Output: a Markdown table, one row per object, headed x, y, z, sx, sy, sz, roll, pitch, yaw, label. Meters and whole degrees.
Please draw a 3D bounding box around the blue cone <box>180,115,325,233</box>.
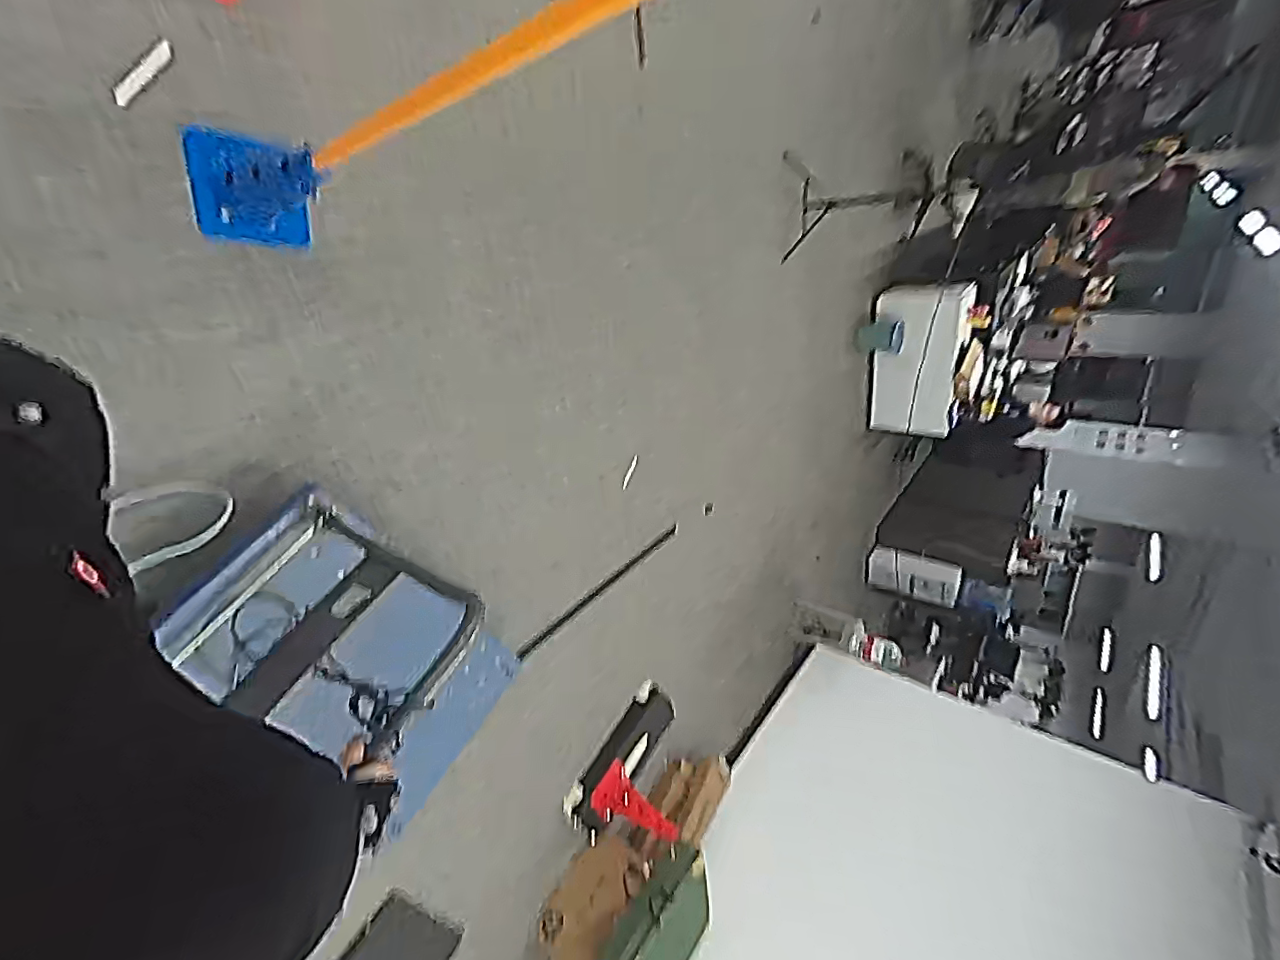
| x | y | z | sx | sy | sz | roll | pitch | yaw | label |
| --- | --- | --- | --- | --- | --- | --- | --- | --- | --- |
| -0.662 | -0.574 | 0.980 | 0.193 | 0.380 | 0.192 | -15 | 112 | -48 | blue cone |
